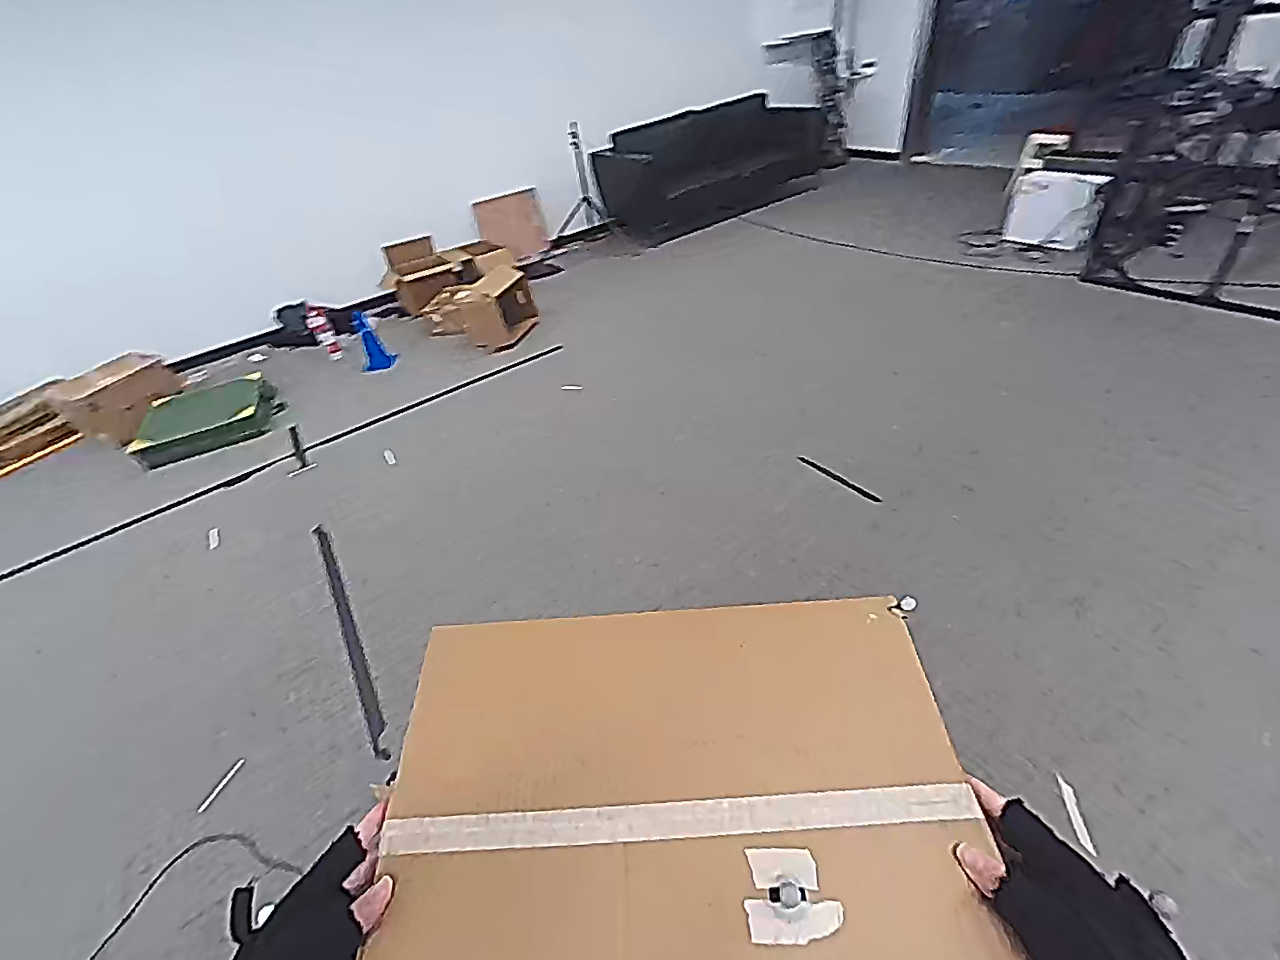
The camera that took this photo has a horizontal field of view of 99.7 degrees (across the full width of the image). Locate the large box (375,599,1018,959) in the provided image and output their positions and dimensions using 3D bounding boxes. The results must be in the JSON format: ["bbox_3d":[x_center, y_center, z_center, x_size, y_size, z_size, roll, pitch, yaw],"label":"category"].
[{"bbox_3d":[0.032,0.336,0.497,0.408,0.320,0.320,-4,49,0],"label":"large box"}]
